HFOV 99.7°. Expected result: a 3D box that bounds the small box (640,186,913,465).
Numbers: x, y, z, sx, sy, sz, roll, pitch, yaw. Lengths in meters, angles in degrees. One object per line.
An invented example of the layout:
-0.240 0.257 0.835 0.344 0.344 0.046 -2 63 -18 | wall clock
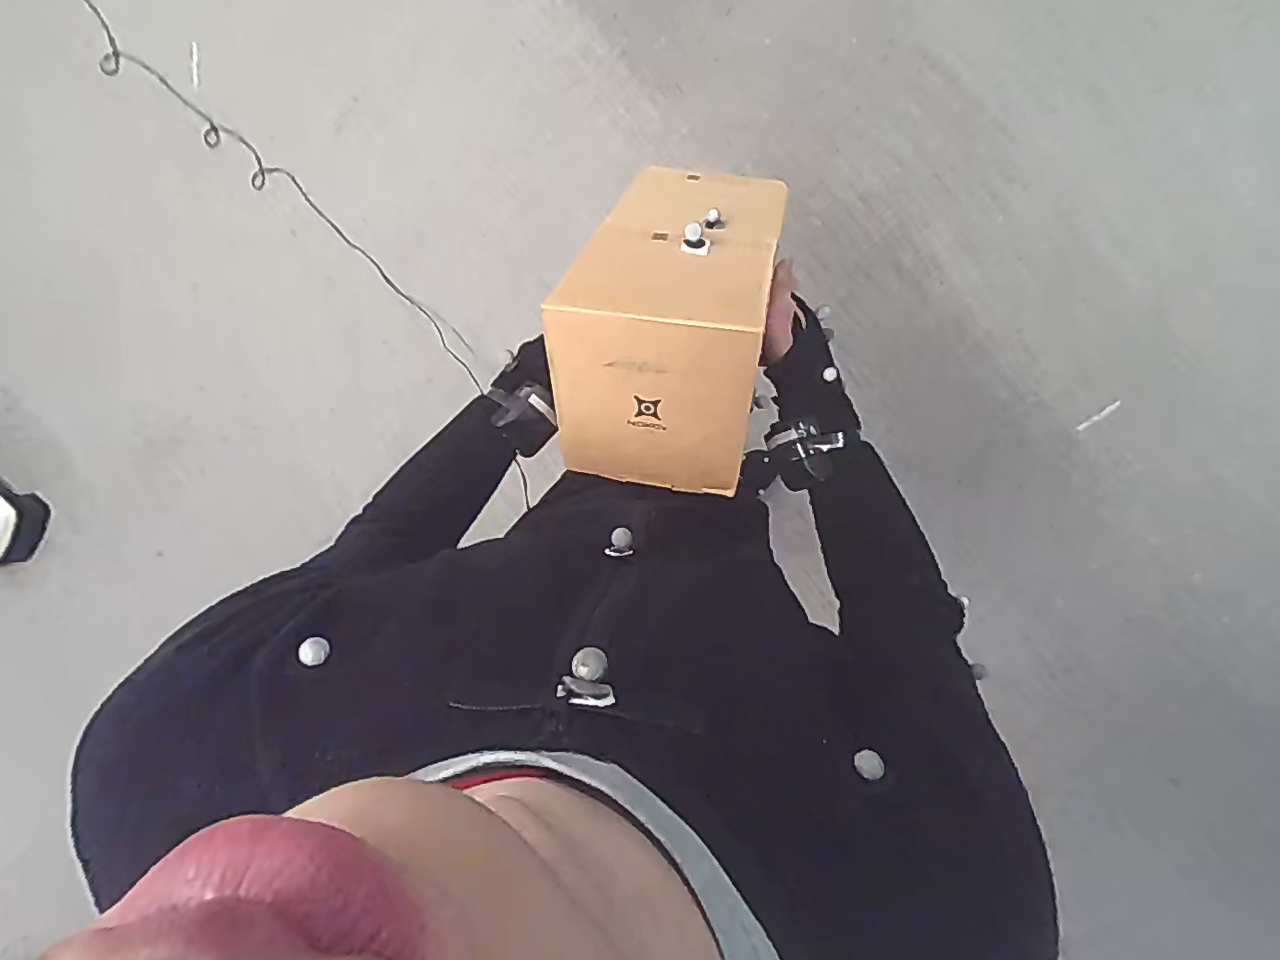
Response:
0.117 -0.149 0.520 0.179 0.168 0.176 22 120 -17 | small box
